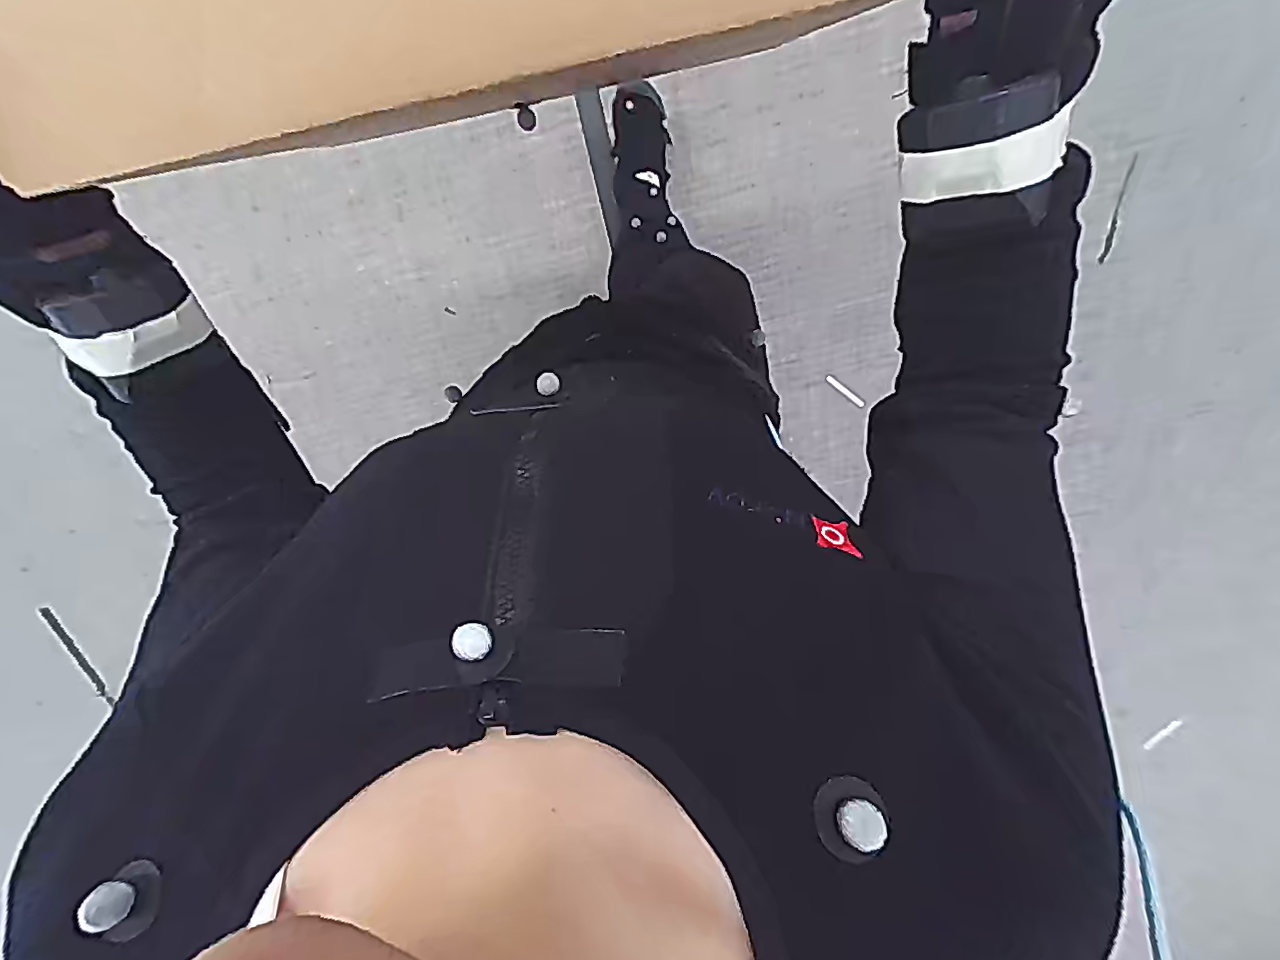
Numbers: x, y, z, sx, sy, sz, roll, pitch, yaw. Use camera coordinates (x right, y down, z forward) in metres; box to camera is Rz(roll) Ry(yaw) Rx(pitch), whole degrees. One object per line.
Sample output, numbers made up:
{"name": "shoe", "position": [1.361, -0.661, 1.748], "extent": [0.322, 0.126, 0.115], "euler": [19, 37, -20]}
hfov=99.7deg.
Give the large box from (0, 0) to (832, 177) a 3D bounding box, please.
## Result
{"name": "large box", "position": [-0.107, -0.379, 0.265], "extent": [0.408, 0.320, 0.320], "euler": [-10, 125, 5]}
